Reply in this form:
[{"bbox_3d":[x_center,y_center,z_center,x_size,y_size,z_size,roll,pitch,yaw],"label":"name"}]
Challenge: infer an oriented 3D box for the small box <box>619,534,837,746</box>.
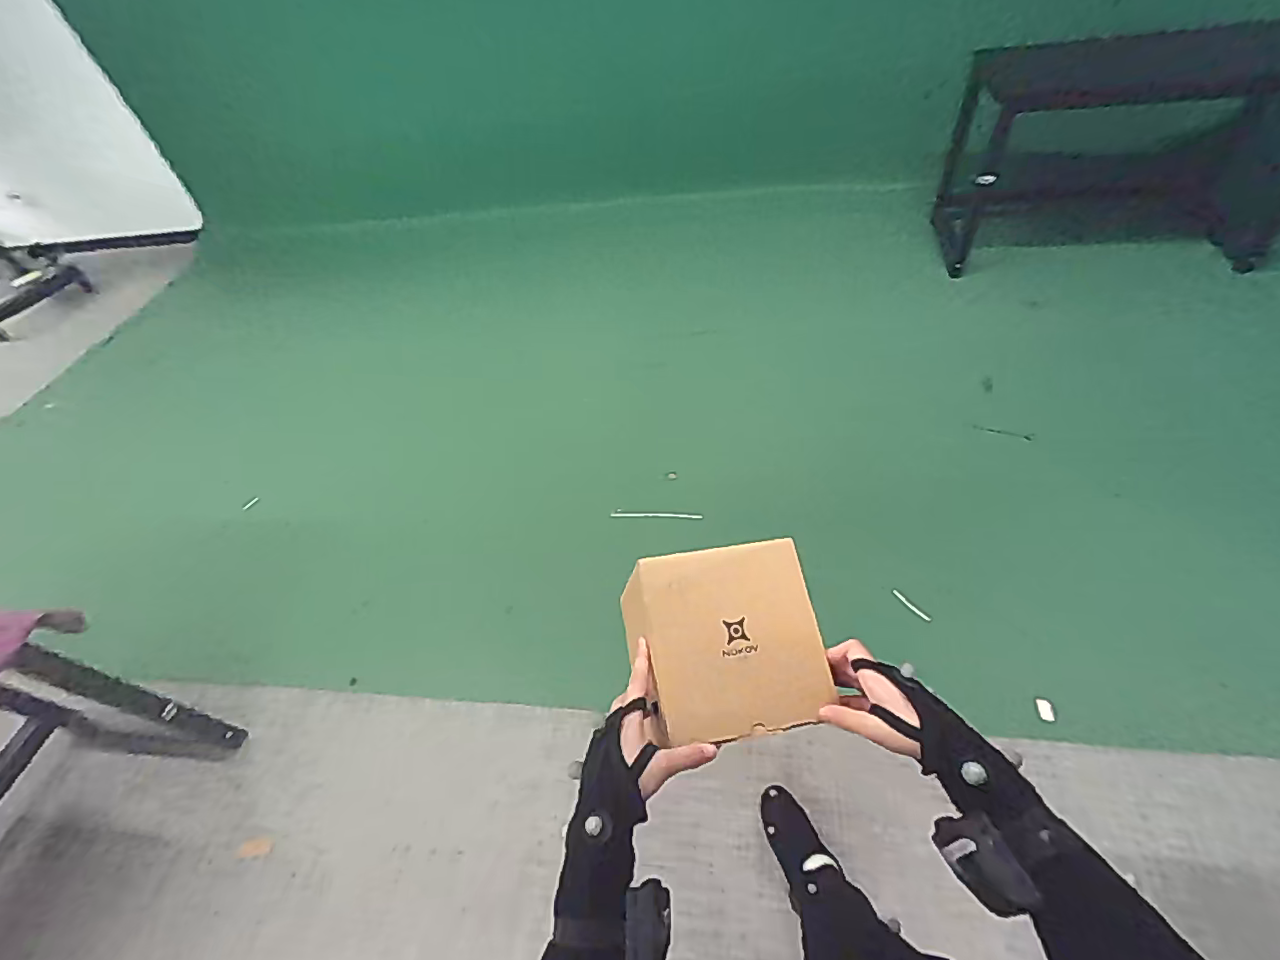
[{"bbox_3d":[0.076,0.175,0.580,0.168,0.176,0.179,-7,67,-11],"label":"small box"}]
